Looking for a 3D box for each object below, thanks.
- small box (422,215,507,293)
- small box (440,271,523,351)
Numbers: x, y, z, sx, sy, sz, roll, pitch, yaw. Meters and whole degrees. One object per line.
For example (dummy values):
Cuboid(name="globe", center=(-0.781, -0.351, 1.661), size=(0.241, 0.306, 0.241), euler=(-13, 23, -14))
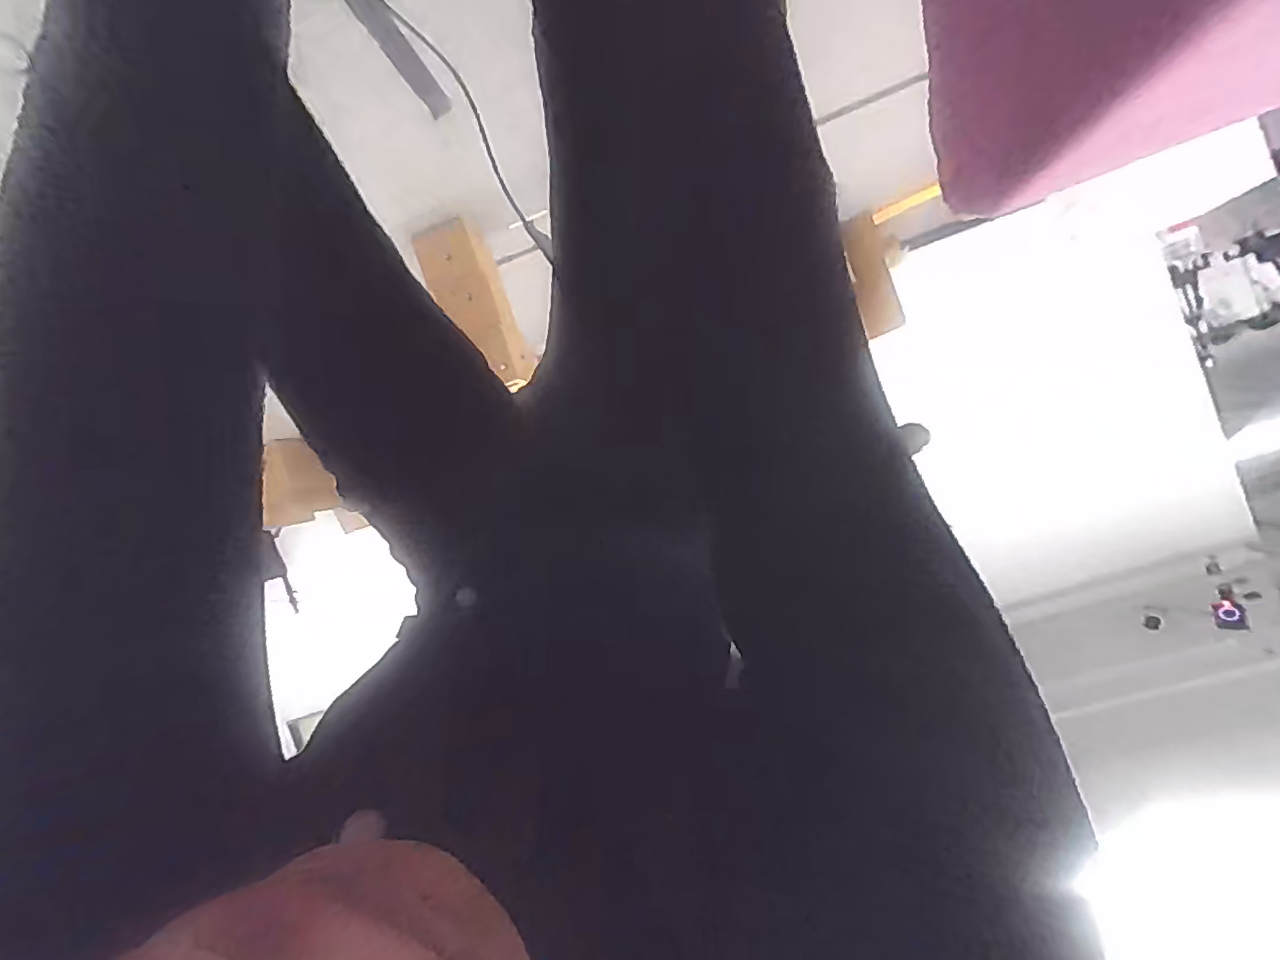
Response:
Cuboid(name="small box", center=(-0.535, -0.665, 1.636), size=(0.179, 0.176, 0.168), euler=(-19, 180, 11))
Cuboid(name="small box", center=(-0.479, -0.513, 1.649), size=(0.168, 0.176, 0.179), euler=(-18, 180, 6))
